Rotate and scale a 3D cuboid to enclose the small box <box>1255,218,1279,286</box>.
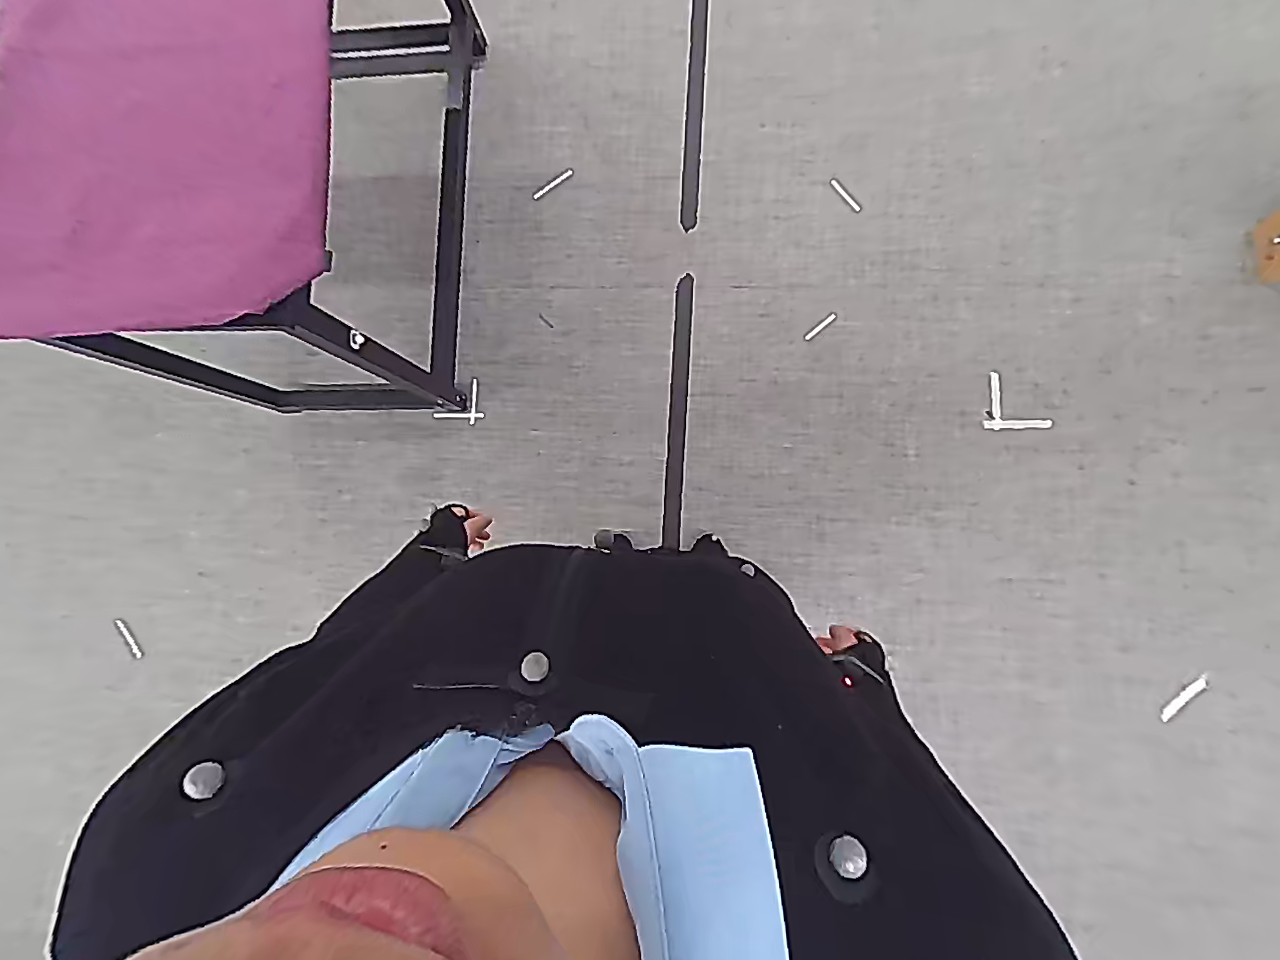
[{"bbox_3d":[1.733,-0.607,1.359,0.179,0.176,0.168,-4,84,5],"label":"small box"}]
